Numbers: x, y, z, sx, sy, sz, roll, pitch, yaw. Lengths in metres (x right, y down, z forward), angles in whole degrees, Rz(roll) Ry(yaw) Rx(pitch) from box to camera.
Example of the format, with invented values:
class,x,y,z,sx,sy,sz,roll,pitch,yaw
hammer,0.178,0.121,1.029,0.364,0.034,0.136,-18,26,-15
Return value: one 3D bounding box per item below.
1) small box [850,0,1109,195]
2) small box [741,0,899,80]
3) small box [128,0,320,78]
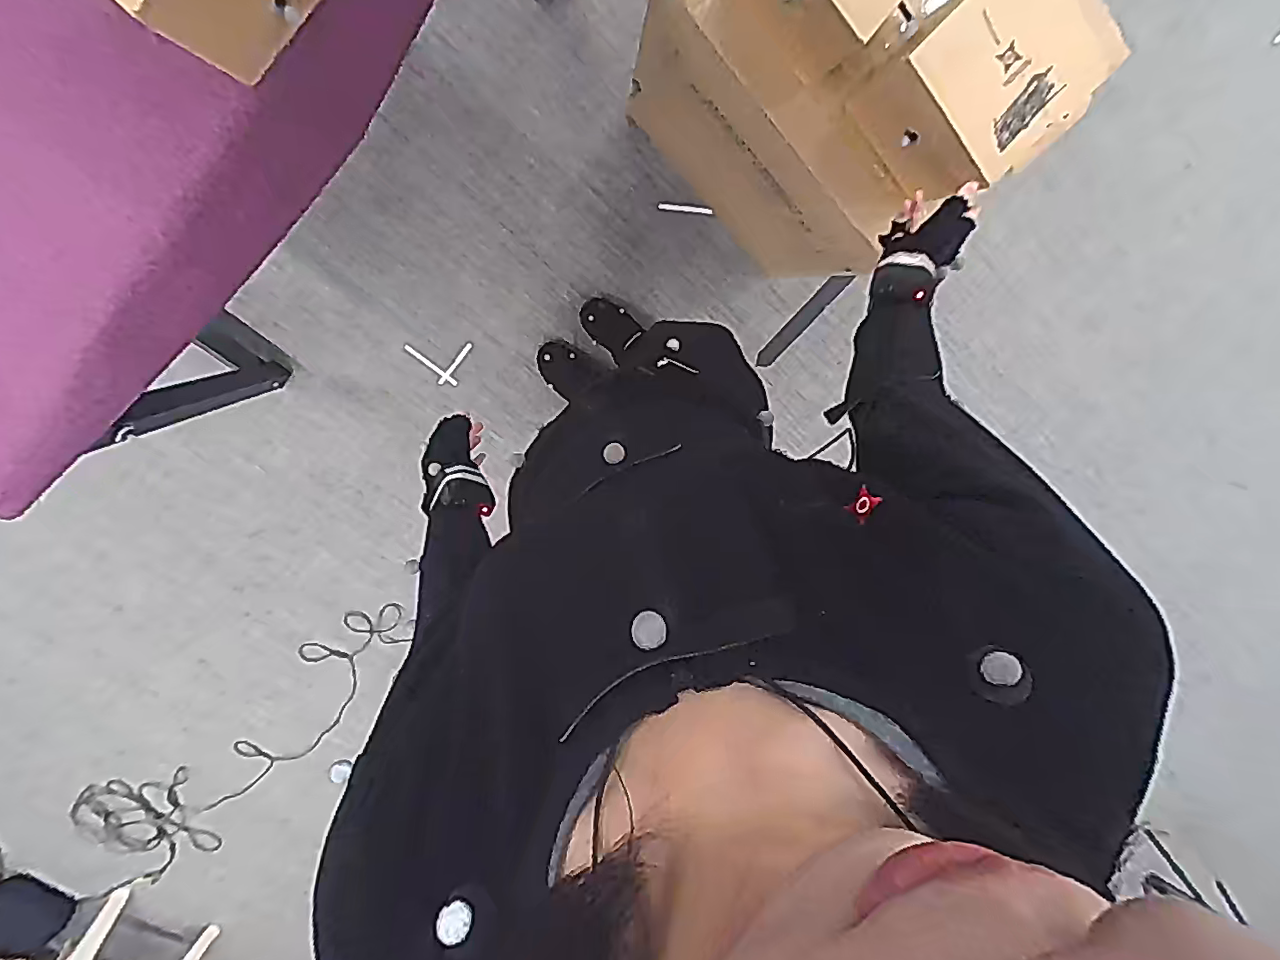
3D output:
class,x,y,z,sx,sy,sz,roll,pitch,yaw
small box,0.399,-0.481,0.665,0.168,0.176,0.179,-43,105,11
small box,0.223,-0.605,0.608,0.179,0.176,0.168,40,103,-18
small box,-0.403,-0.513,0.473,0.179,0.176,0.168,-43,107,9
